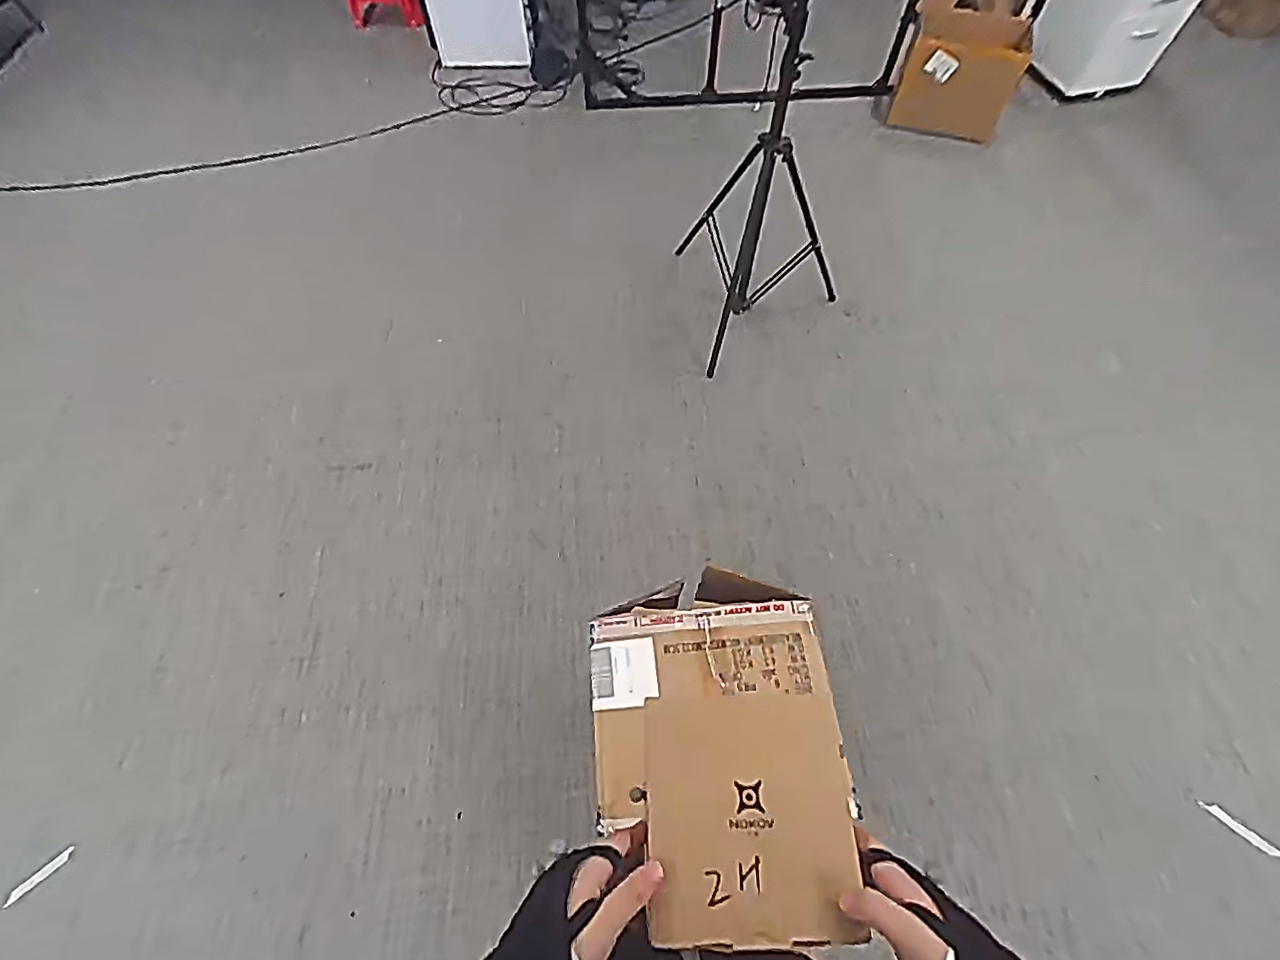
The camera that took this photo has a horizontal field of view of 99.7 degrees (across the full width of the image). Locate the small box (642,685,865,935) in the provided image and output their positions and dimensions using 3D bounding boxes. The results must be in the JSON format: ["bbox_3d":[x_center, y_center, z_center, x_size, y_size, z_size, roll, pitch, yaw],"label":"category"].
[{"bbox_3d":[0.086,0.301,0.514,0.168,0.176,0.179,-1,61,-1],"label":"small box"}]
